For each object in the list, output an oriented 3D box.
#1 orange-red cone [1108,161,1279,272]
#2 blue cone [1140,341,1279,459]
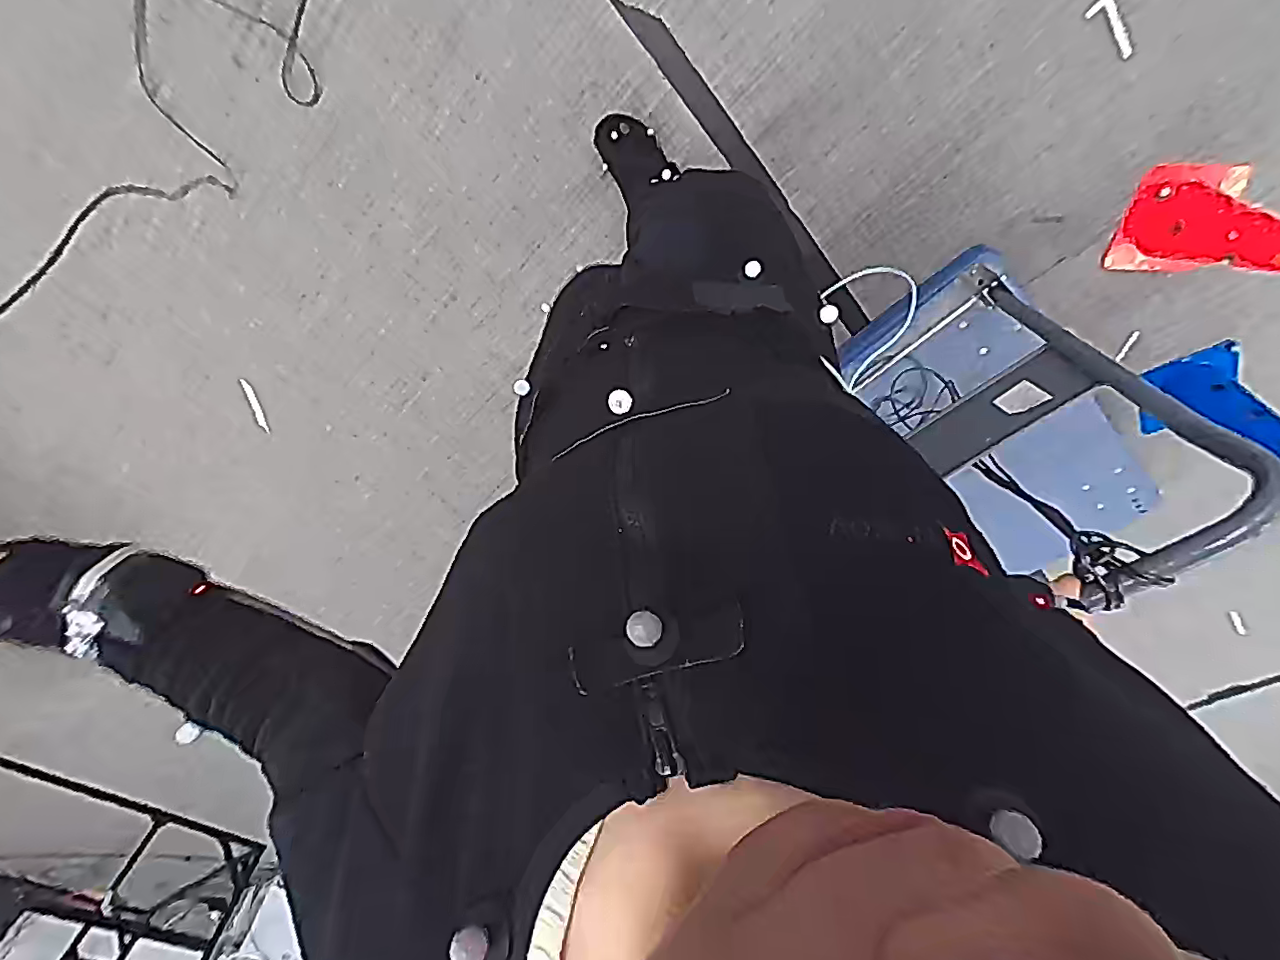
[{"bbox_3d":[1.084,-0.427,0.962,0.198,0.360,0.199,3,127,1],"label":"orange-red cone"},{"bbox_3d":[1.326,-0.129,1.184,0.193,0.380,0.192,-22,121,18],"label":"blue cone"}]
